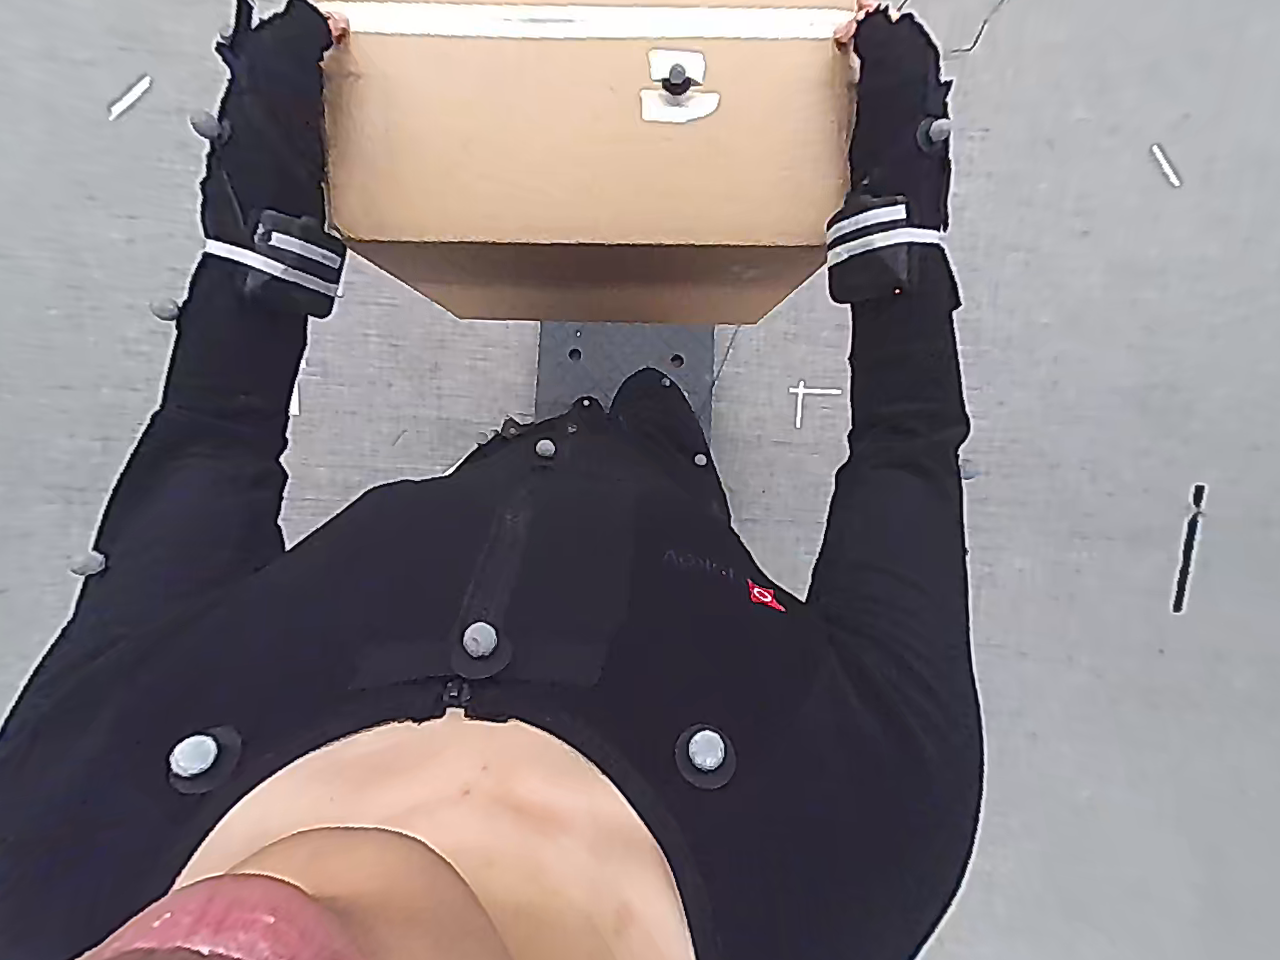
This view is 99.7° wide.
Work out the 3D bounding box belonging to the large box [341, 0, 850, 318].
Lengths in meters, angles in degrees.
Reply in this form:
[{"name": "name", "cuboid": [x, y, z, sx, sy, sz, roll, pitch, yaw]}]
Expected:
[{"name": "large box", "cuboid": [-0.038, -0.361, 0.570, 0.408, 0.320, 0.320, 0, 96, -1]}]
